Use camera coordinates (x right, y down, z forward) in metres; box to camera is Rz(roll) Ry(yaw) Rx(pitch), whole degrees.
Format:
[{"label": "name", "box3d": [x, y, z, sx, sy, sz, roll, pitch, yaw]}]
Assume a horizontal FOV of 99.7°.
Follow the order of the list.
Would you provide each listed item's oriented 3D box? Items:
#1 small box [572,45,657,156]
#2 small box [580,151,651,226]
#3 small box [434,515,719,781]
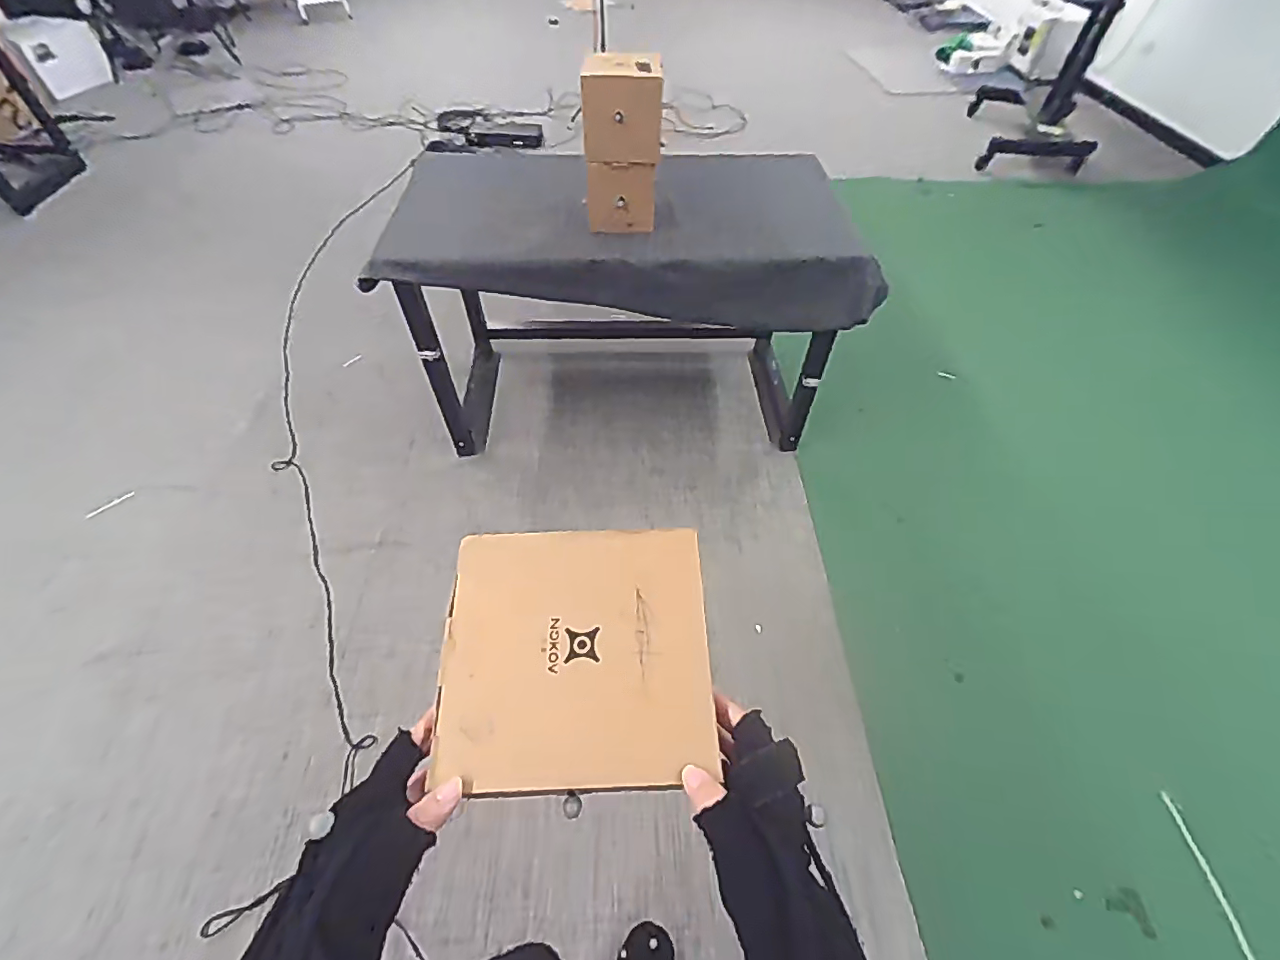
[{"label": "small box", "box3d": [-0.052, -0.852, 1.220, 0.179, 0.176, 0.168, 0, 52, 1]}, {"label": "small box", "box3d": [-0.059, -0.757, 1.355, 0.168, 0.176, 0.179, -2, 53, -1]}, {"label": "small box", "box3d": [-0.042, 0.141, 0.431, 0.179, 0.176, 0.168, -4, 61, -2]}]
